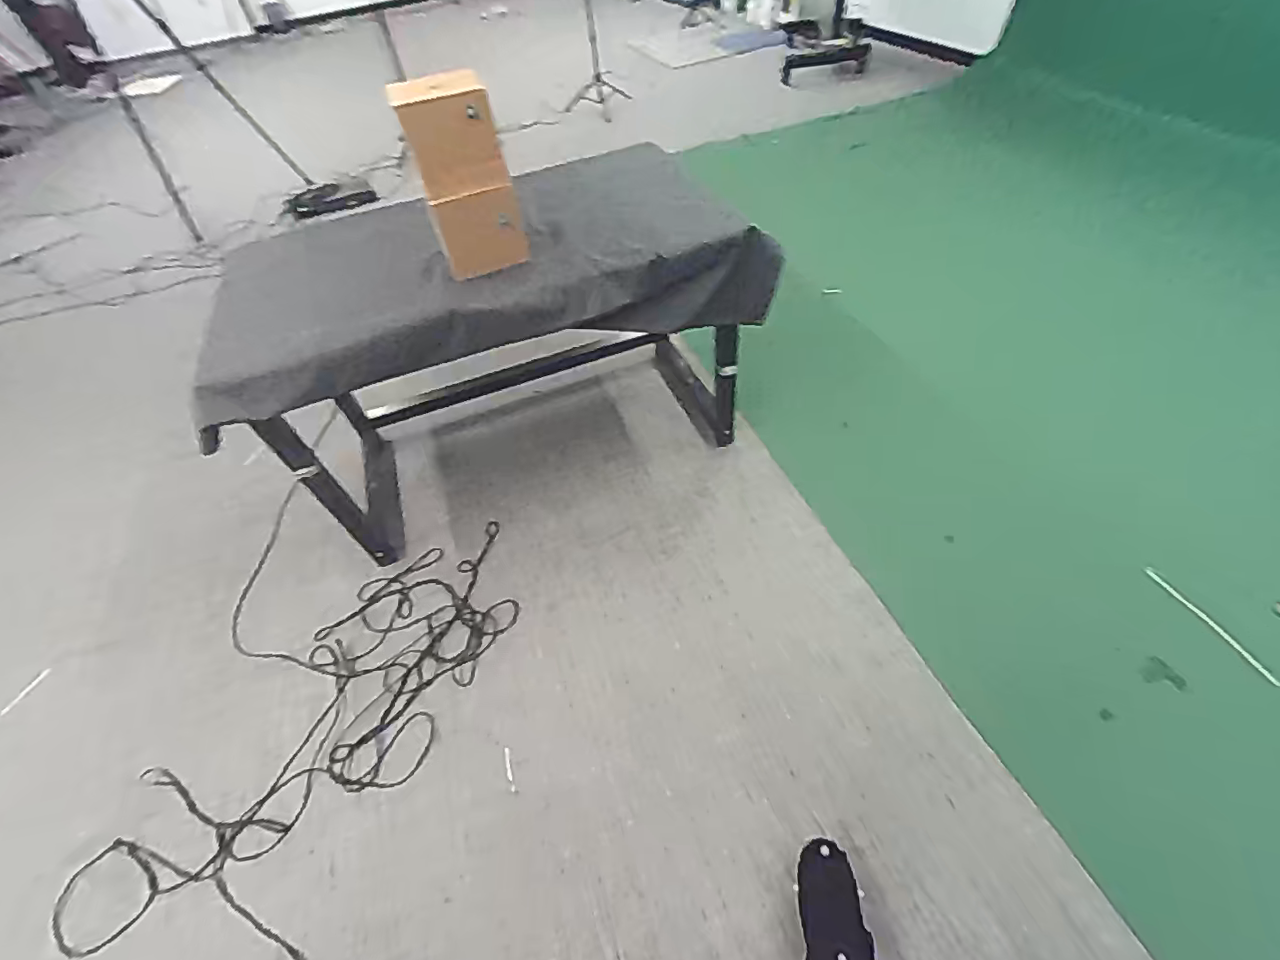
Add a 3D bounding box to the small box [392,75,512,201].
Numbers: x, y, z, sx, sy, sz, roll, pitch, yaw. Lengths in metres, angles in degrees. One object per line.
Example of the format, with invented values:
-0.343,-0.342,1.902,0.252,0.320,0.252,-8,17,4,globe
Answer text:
-0.378,-0.689,1.096,0.179,0.176,0.168,-19,50,-10,small box
